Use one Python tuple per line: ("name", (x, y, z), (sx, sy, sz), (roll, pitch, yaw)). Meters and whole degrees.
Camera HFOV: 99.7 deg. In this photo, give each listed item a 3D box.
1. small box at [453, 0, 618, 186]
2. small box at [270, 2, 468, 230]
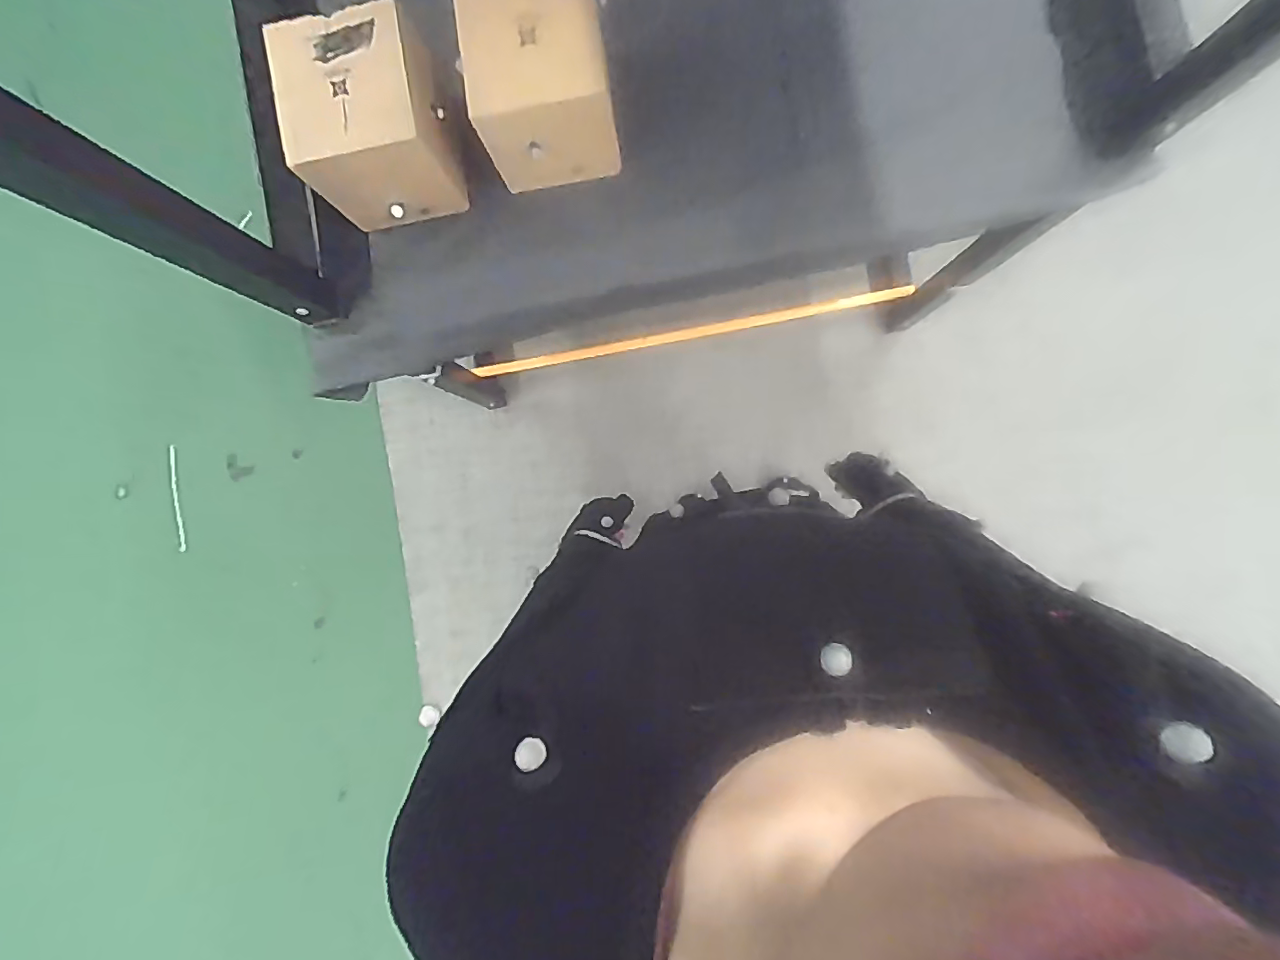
("small box", (-0.126, -0.517, 0.713), (0.168, 0.176, 0.179), (-9, 87, 3))
("small box", (-0.349, -0.470, 0.724), (0.168, 0.176, 0.179), (-10, 88, 3))
